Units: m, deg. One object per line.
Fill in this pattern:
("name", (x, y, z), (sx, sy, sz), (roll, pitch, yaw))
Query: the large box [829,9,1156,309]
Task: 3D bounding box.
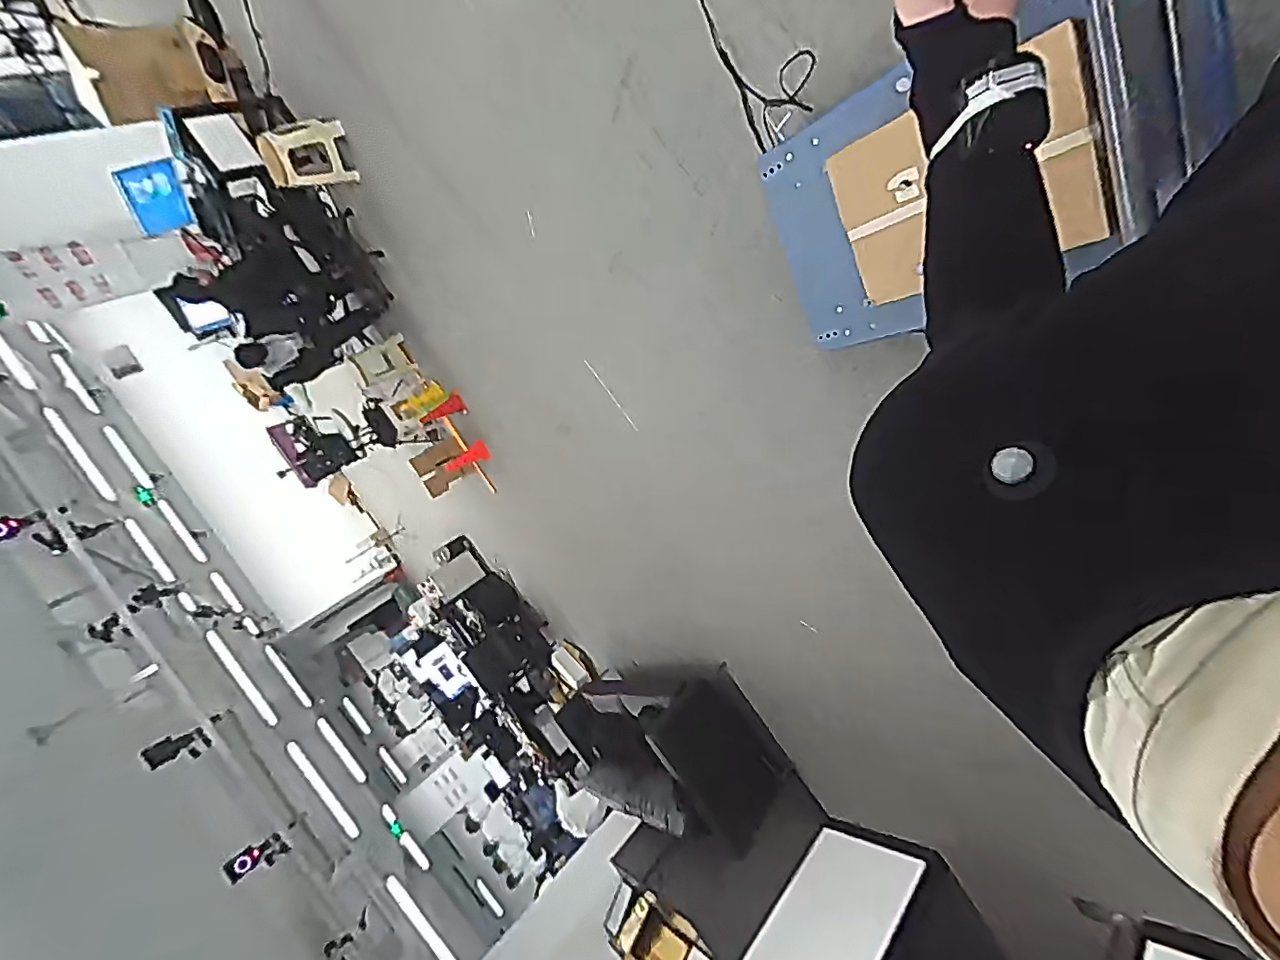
("large box", (0.657, -0.578, 1.028), (0.408, 0.320, 0.320), (-2, 117, 55))
